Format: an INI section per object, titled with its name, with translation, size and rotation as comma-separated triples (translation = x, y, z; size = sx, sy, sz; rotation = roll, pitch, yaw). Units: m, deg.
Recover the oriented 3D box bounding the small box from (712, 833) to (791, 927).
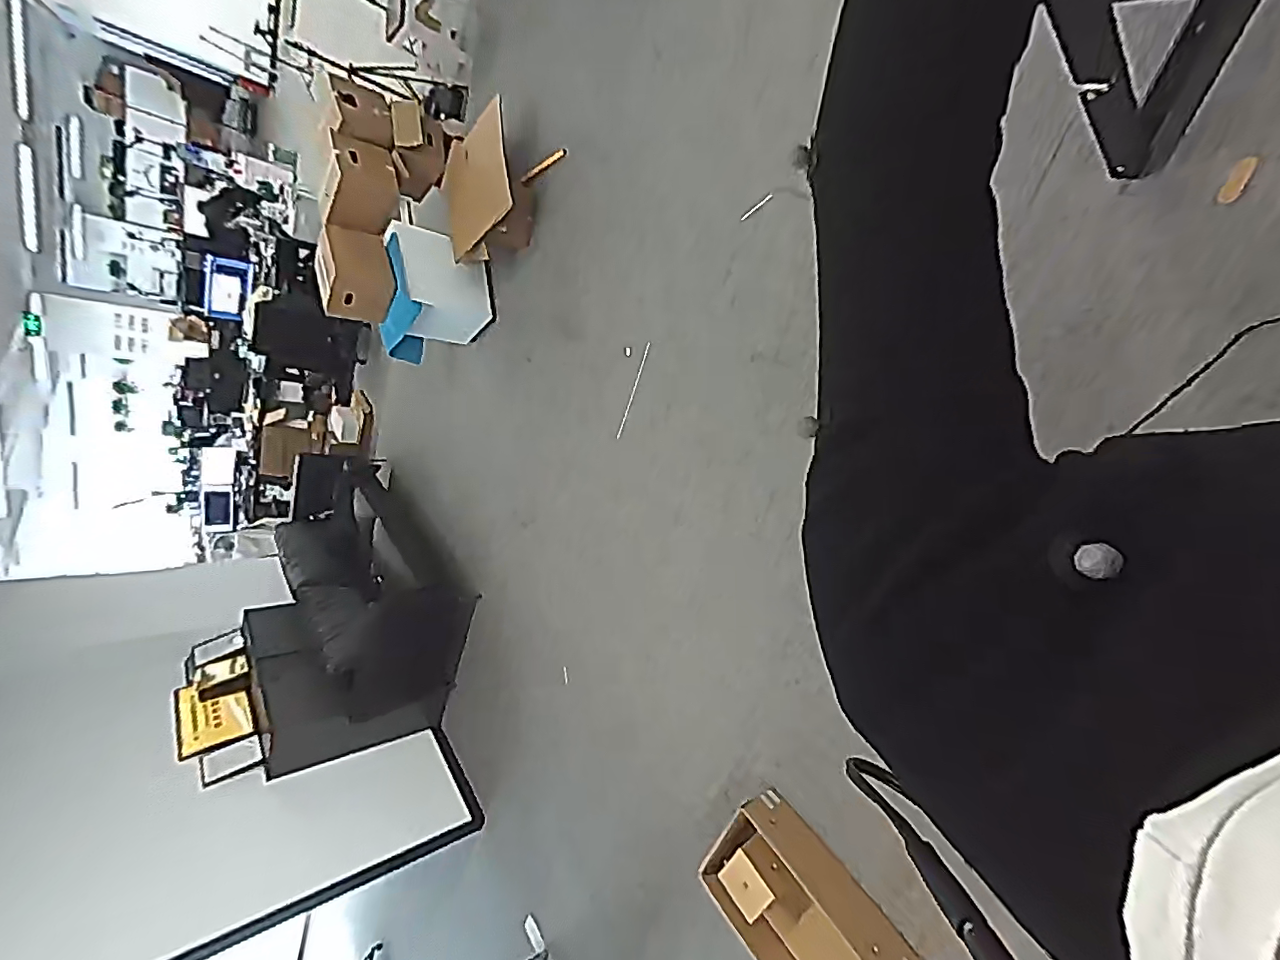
[small box]
translation = 0.384, 1.350, 1.839
size = 0.168, 0.176, 0.179
rotation = 45, 120, 38
